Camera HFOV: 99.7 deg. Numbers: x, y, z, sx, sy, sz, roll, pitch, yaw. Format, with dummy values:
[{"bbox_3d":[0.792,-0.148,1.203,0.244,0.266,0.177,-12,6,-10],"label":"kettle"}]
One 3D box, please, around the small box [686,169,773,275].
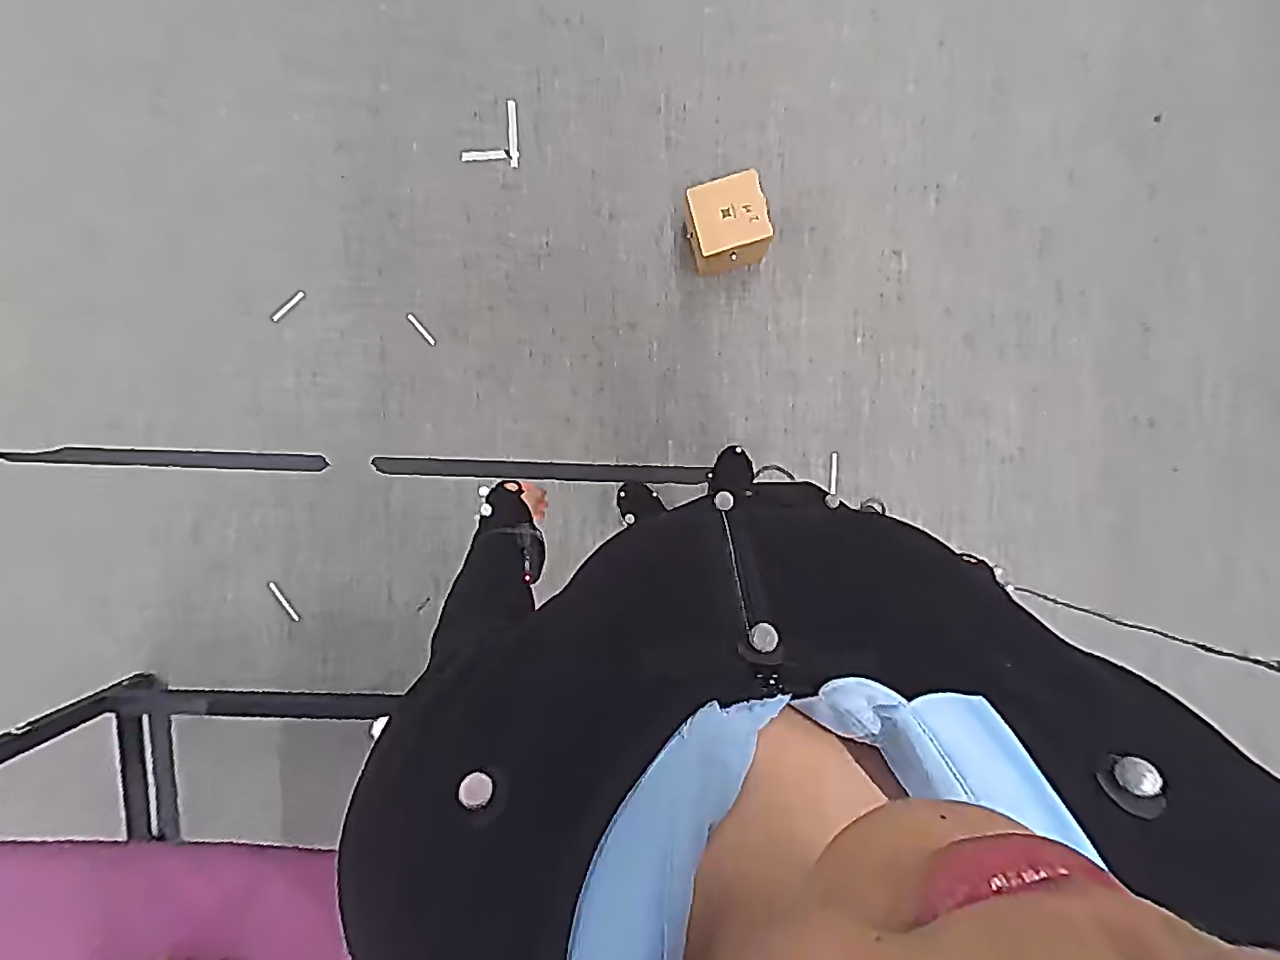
[{"bbox_3d":[0.220,-0.640,1.365,0.179,0.176,0.168,-15,93,4],"label":"small box"}]
